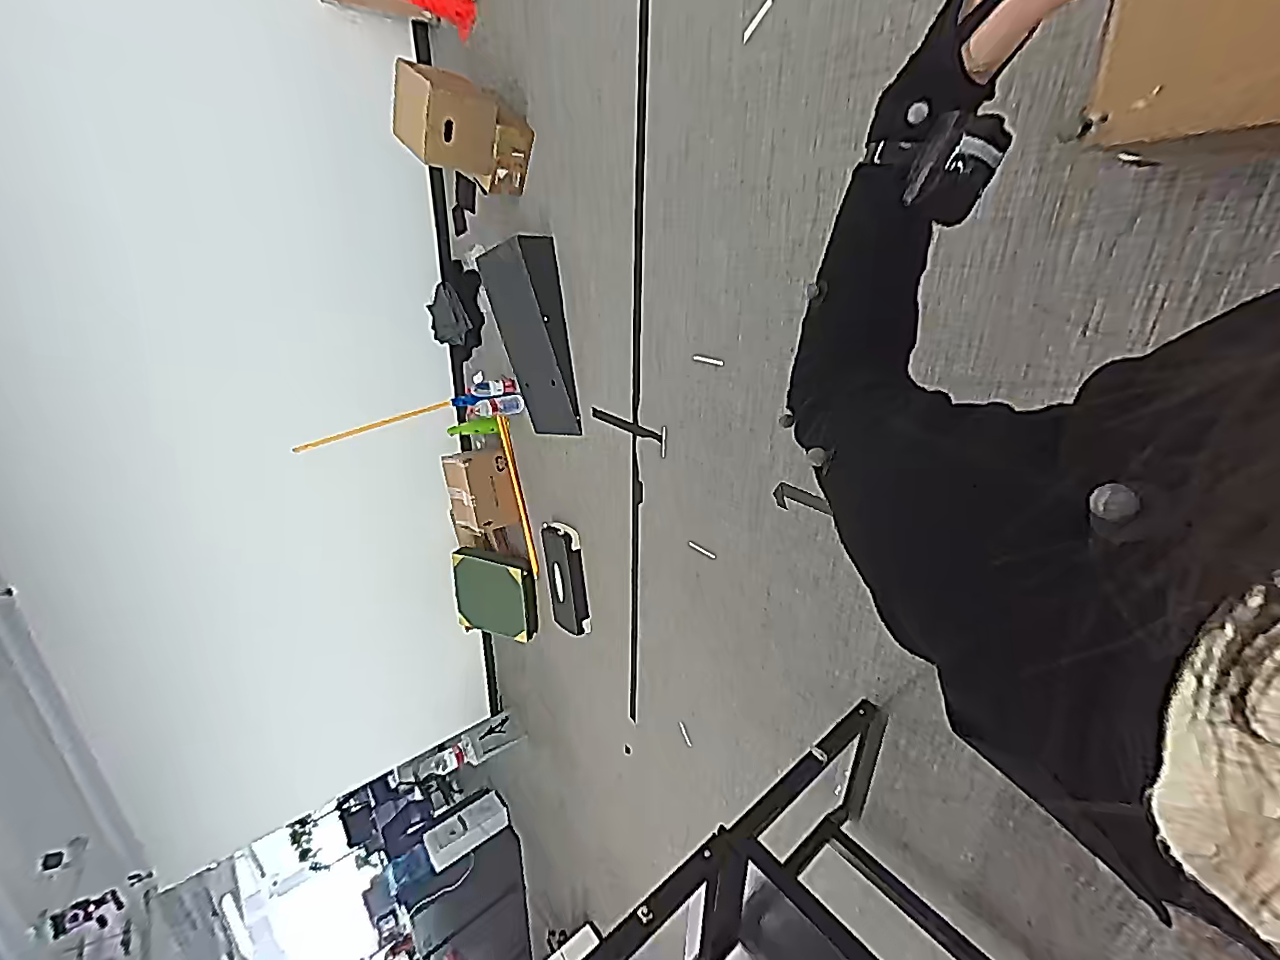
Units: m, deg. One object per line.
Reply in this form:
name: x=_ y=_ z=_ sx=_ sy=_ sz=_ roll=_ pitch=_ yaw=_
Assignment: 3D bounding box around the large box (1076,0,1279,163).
large box: x=0.497 y=-0.334 z=0.213 sx=0.408 sy=0.320 sz=0.320 roll=23 pitch=124 yaw=47
